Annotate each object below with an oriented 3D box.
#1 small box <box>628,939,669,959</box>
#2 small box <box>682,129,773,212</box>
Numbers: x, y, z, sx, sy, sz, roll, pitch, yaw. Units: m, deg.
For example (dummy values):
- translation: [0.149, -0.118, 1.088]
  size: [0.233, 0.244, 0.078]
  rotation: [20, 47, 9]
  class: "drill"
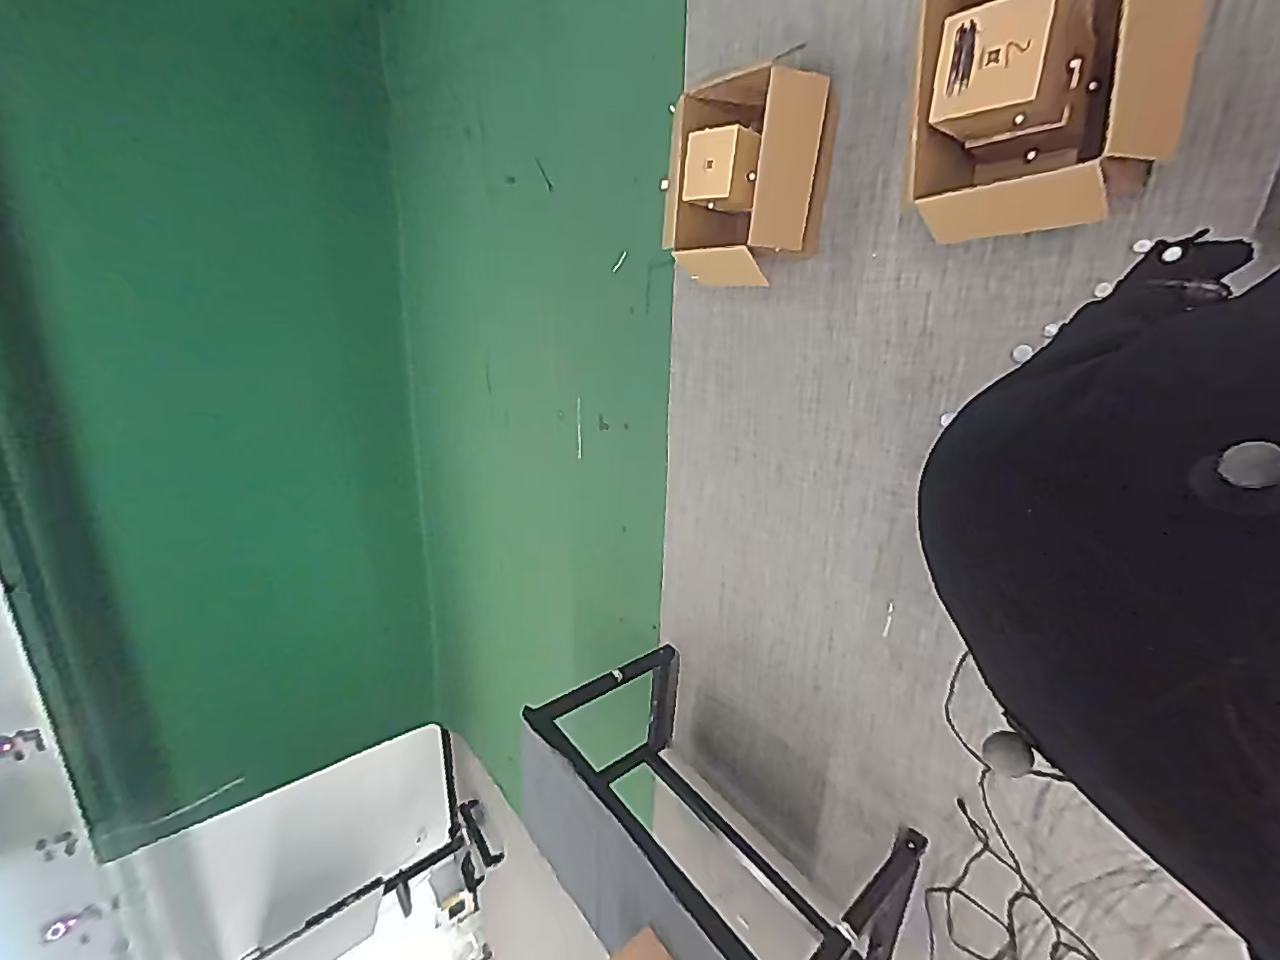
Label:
- translation: [0.020, 1.409, 1.455]
  size: [0.179, 0.176, 0.168]
  rotation: [27, 119, 45]
  class: "small box"
- translation: [0.241, -0.842, 1.485]
  size: [0.179, 0.176, 0.168]
  rotation: [24, 117, 44]
  class: "small box"
